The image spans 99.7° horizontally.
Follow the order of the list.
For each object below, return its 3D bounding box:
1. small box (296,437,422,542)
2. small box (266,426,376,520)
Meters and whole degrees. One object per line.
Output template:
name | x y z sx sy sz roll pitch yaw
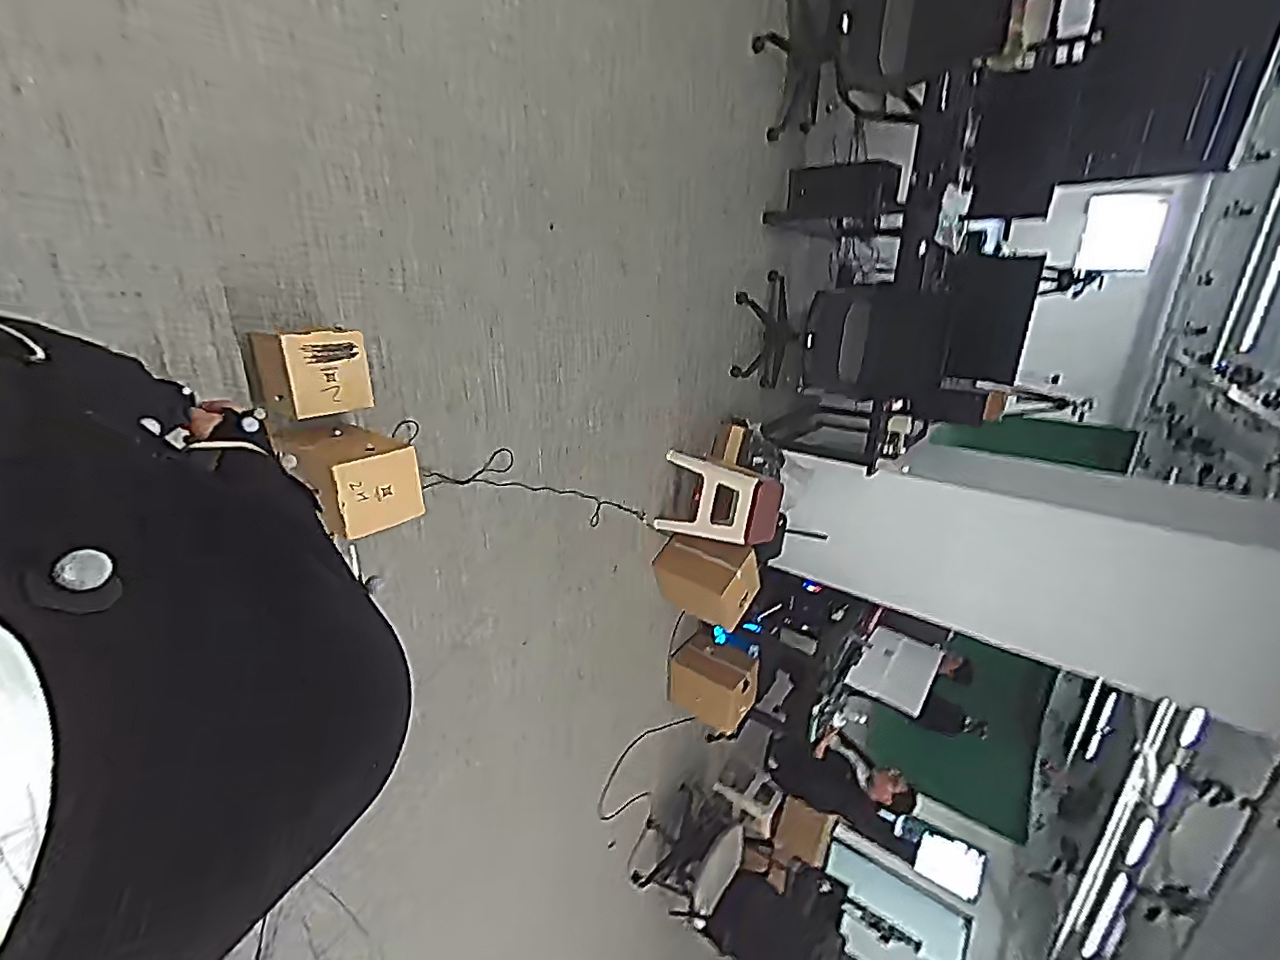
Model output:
small box | -0.607 0.011 1.175 0.179 0.176 0.168 -23 120 -48
small box | -0.737 -0.026 1.270 0.179 0.176 0.168 -21 119 -48
